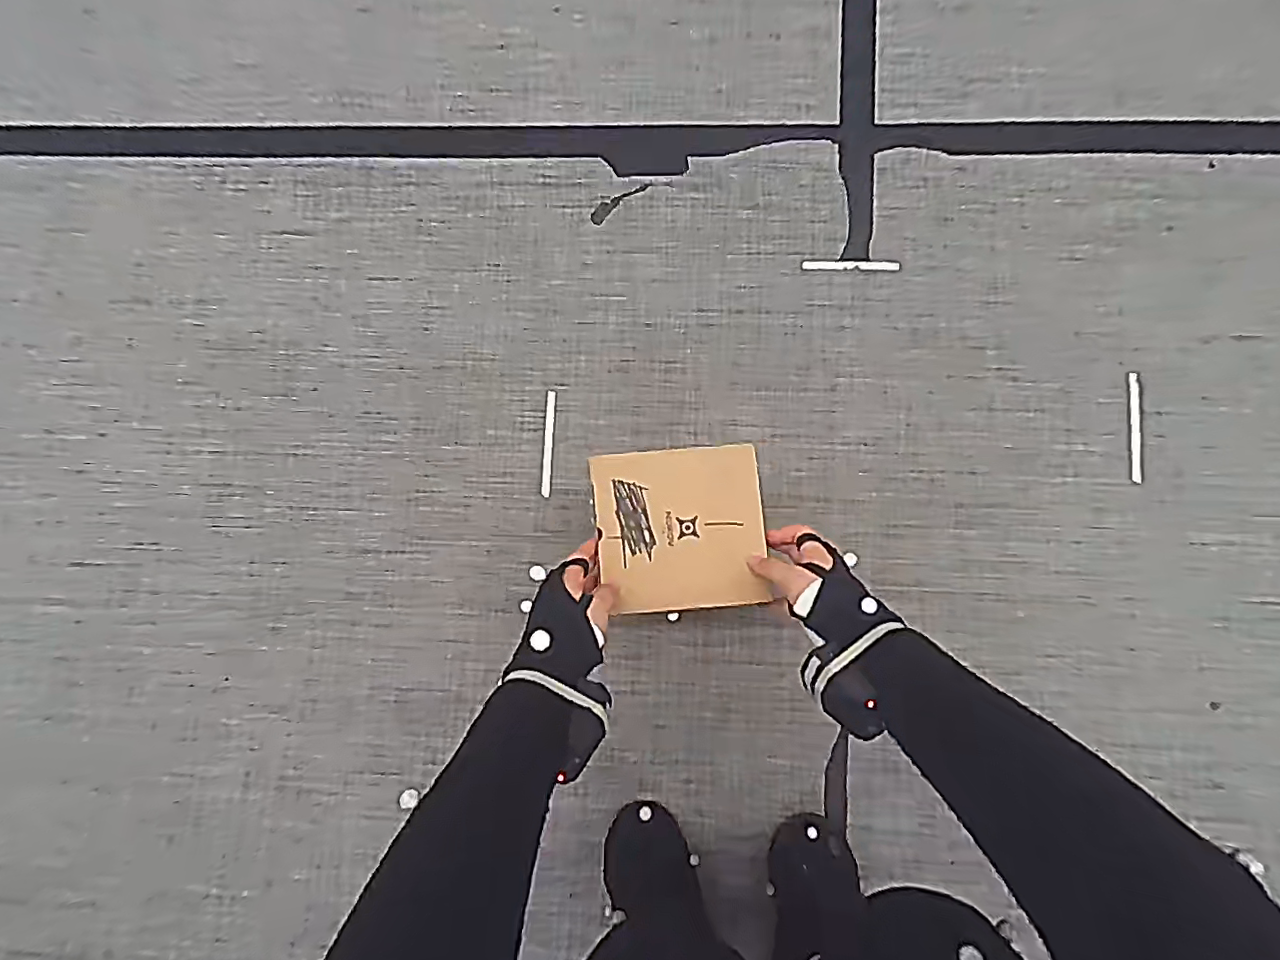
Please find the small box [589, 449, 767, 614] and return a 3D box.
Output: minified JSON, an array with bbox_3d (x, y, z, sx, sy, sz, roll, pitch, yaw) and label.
[{"bbox_3d":[0.038,0.065,0.636,0.179,0.176,0.168,-4,81,-1],"label":"small box"}]
